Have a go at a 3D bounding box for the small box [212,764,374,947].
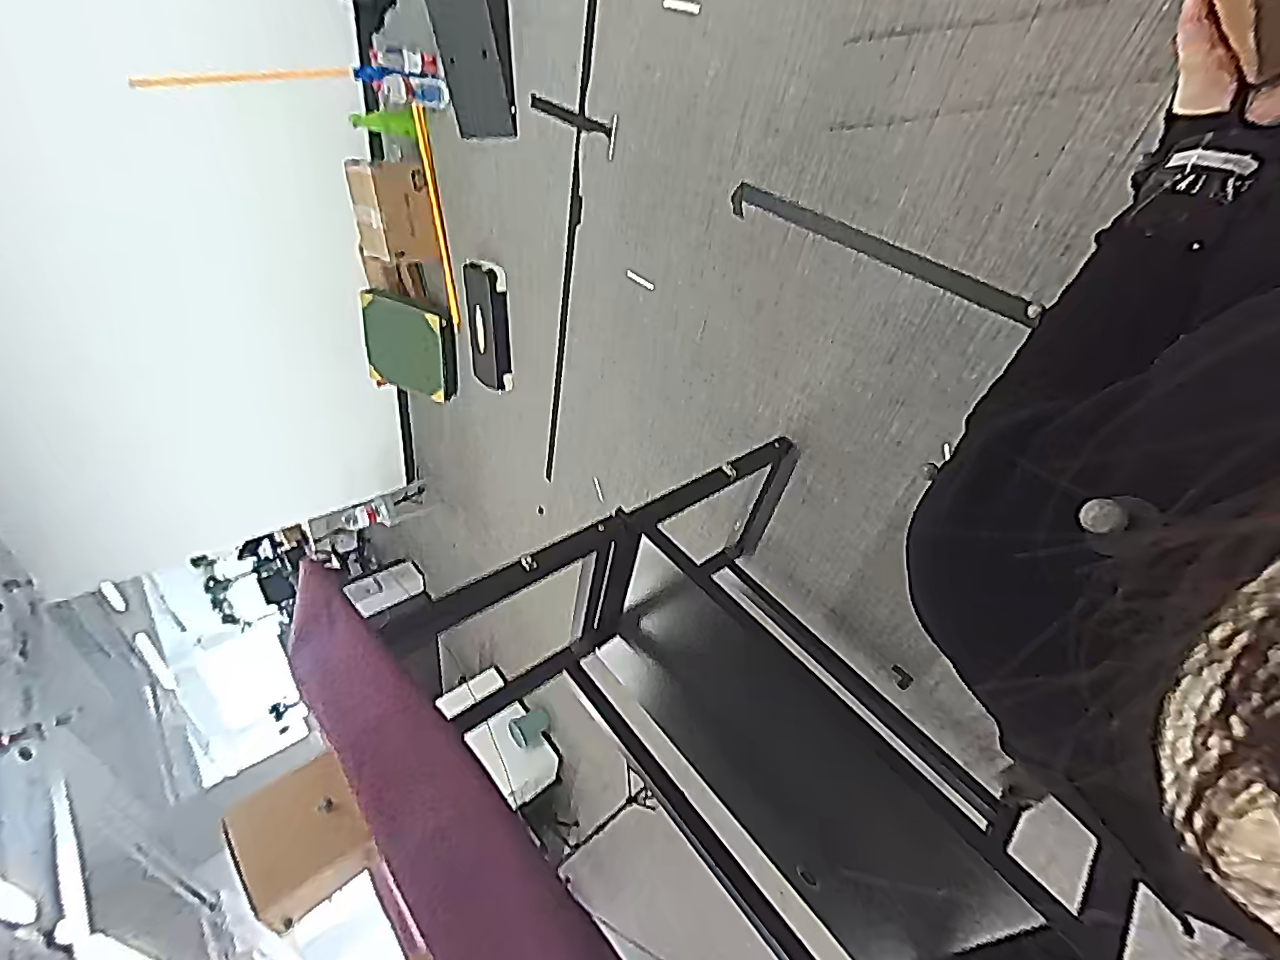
[{"bbox_3d":[-0.564,0.607,0.894,0.179,0.176,0.168,43,138,28],"label":"small box"}]
